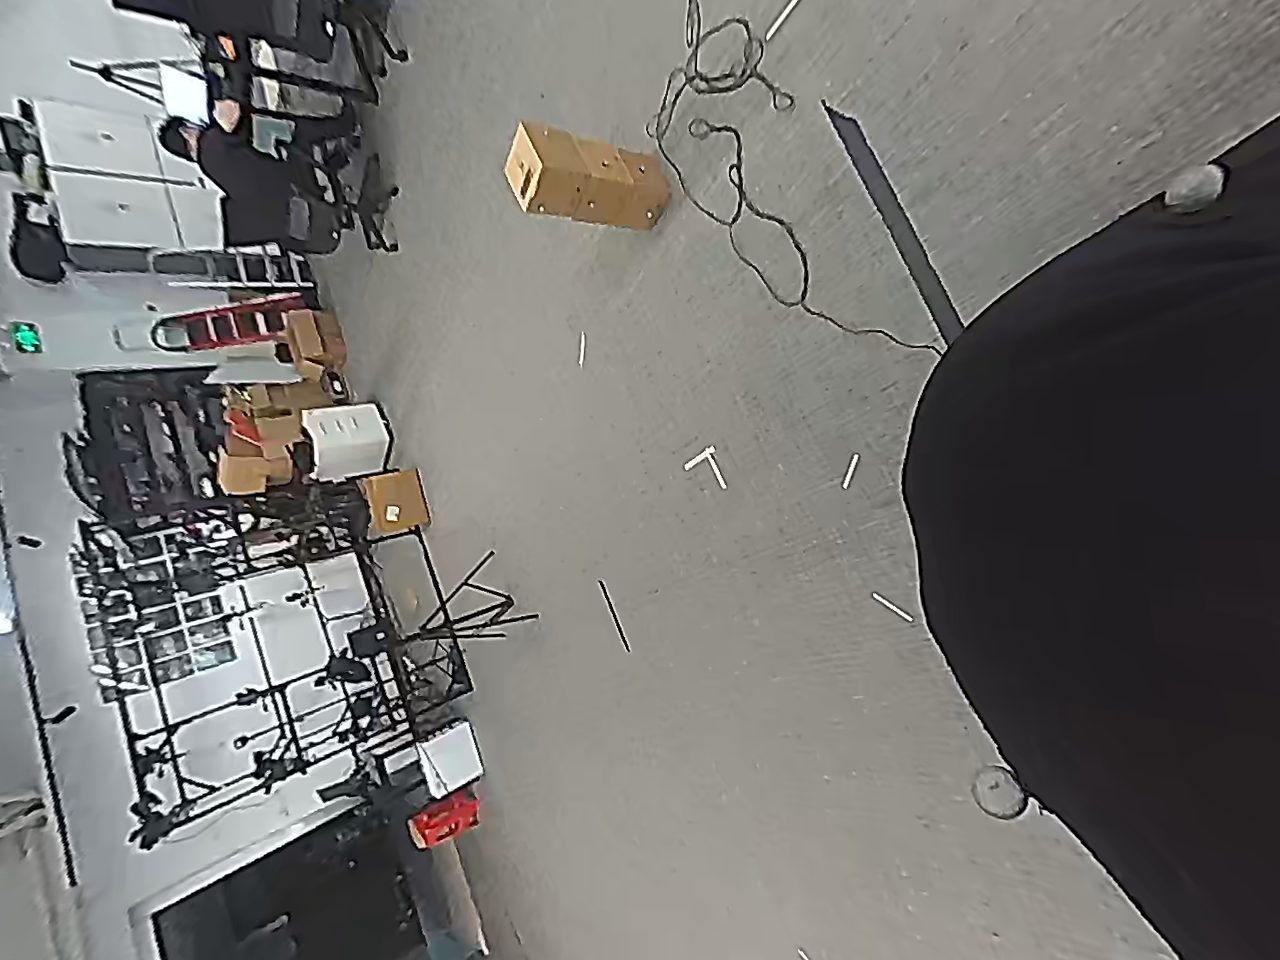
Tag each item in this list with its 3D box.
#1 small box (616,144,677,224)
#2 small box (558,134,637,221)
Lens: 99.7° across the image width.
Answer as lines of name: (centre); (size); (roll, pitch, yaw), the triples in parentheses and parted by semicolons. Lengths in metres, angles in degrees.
small box: (-0.007, -0.992, 1.831); (0.168, 0.176, 0.179); (-44, 68, 49)
small box: (-0.129, -0.961, 1.730); (0.179, 0.176, 0.168); (-41, 70, 51)
